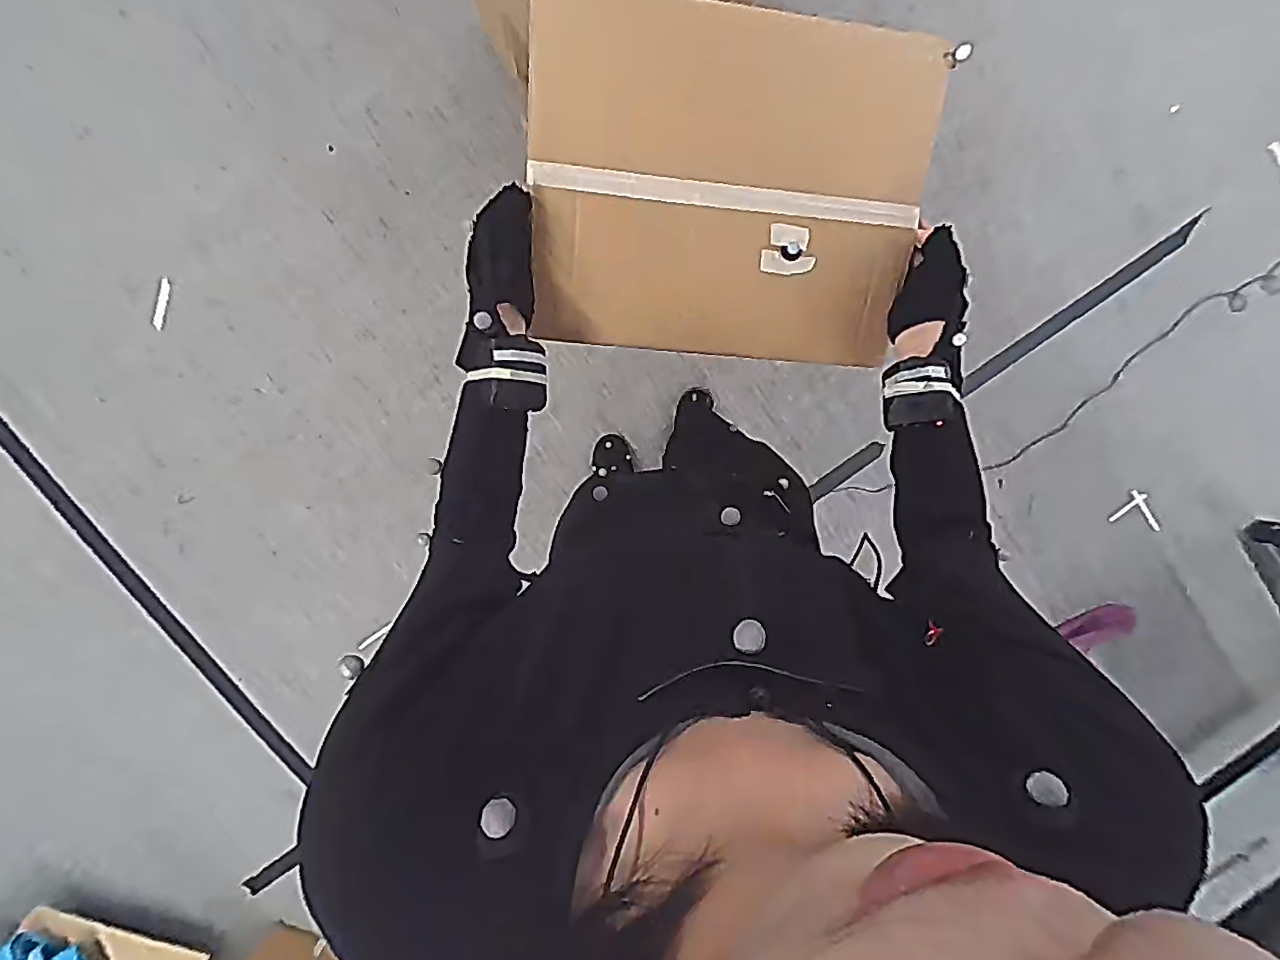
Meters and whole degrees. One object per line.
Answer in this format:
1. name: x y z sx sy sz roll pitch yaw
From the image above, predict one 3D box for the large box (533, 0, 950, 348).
1. large box: 0.077 -0.345 0.681 0.408 0.320 0.320 2 109 -8
